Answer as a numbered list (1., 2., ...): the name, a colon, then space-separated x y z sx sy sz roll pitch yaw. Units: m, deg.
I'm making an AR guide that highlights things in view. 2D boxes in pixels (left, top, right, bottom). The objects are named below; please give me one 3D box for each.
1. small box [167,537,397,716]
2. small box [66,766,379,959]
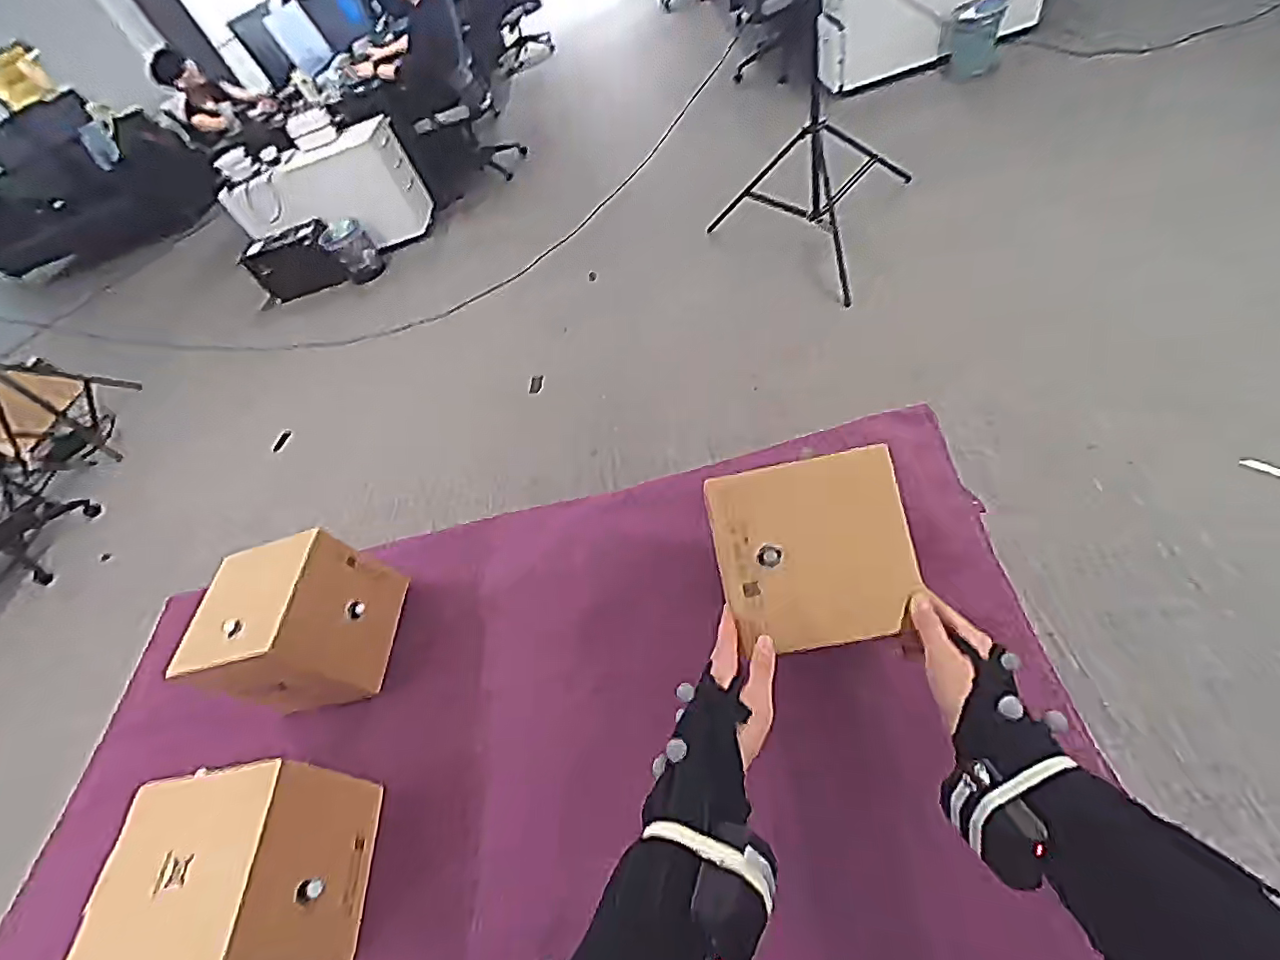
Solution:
1. small box: -0.451 0.195 0.718 0.179 0.168 0.176 -16 48 17
2. small box: -0.401 0.408 0.551 0.179 0.176 0.168 -15 50 8
